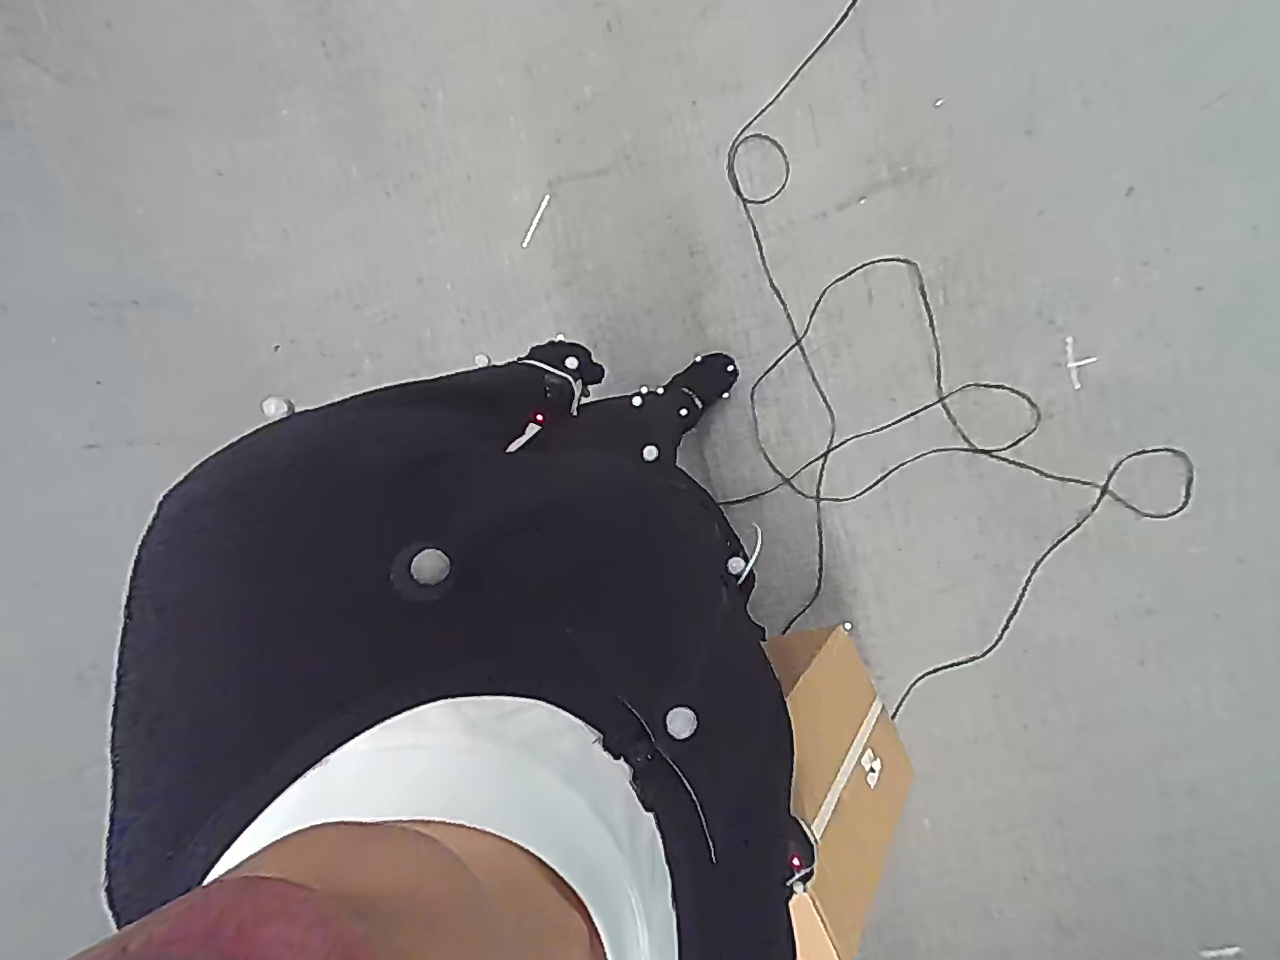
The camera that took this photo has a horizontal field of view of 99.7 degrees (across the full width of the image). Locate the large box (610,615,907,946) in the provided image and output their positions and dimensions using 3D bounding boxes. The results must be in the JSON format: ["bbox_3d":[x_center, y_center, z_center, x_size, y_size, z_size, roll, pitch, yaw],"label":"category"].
[{"bbox_3d":[0.223,0.499,0.979,0.320,0.408,0.320,-26,87,40],"label":"large box"}]
